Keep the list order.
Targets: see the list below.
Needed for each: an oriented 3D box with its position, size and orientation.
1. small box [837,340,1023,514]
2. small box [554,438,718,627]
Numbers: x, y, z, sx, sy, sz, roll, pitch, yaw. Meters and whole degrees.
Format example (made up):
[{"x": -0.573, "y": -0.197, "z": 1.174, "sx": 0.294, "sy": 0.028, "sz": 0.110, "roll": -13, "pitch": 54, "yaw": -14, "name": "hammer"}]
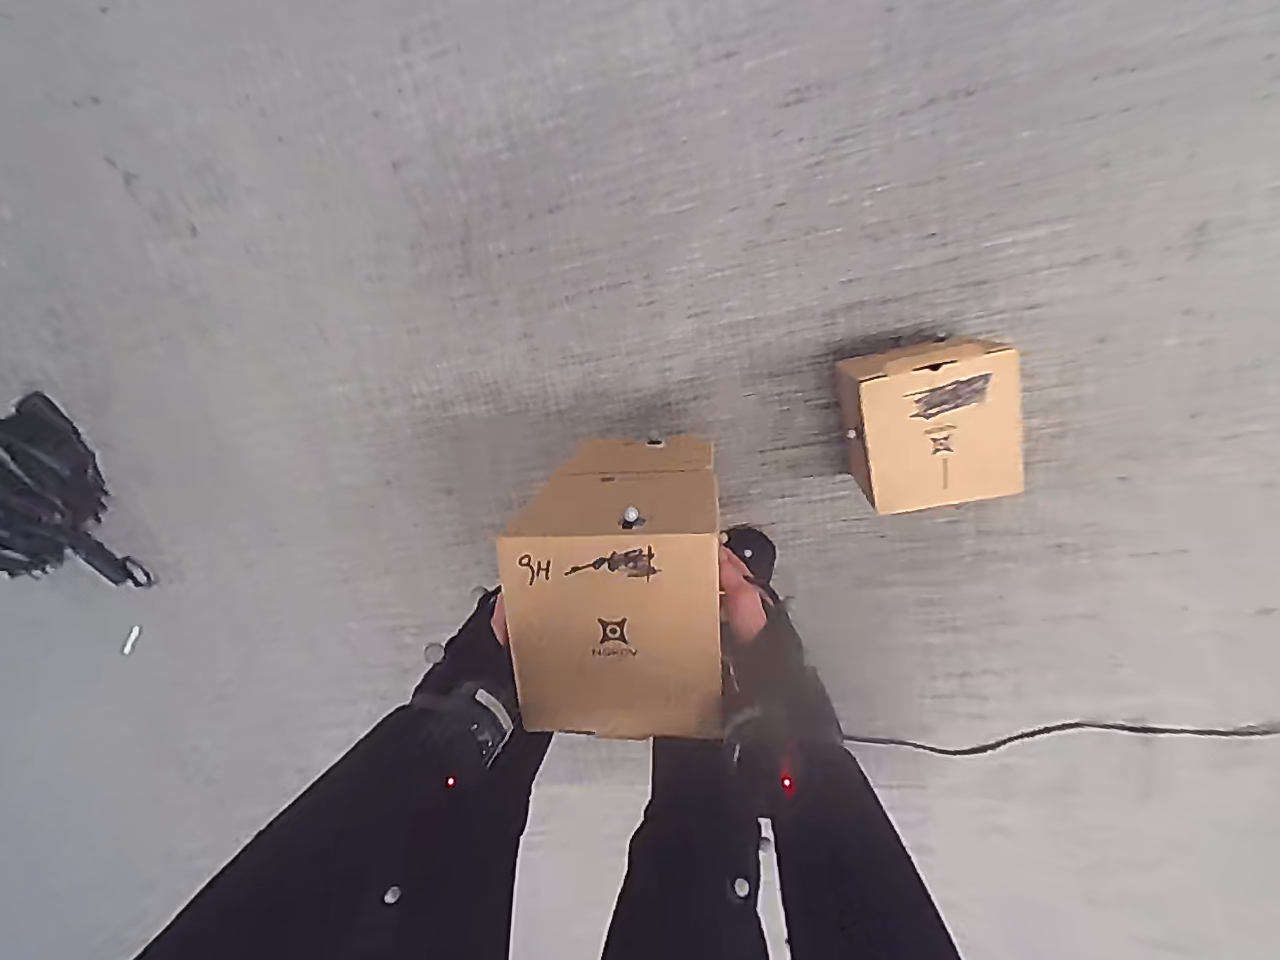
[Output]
[{"x": 0.361, "y": -0.077, "z": 0.699, "sx": 0.168, "sy": 0.176, "sz": 0.179, "roll": -11, "pitch": 107, "yaw": 14, "name": "small box"}, {"x": 0.008, "y": 0.054, "z": 0.640, "sx": 0.168, "sy": 0.176, "sz": 0.179, "roll": -3, "pitch": 104, "yaw": 8, "name": "small box"}]
